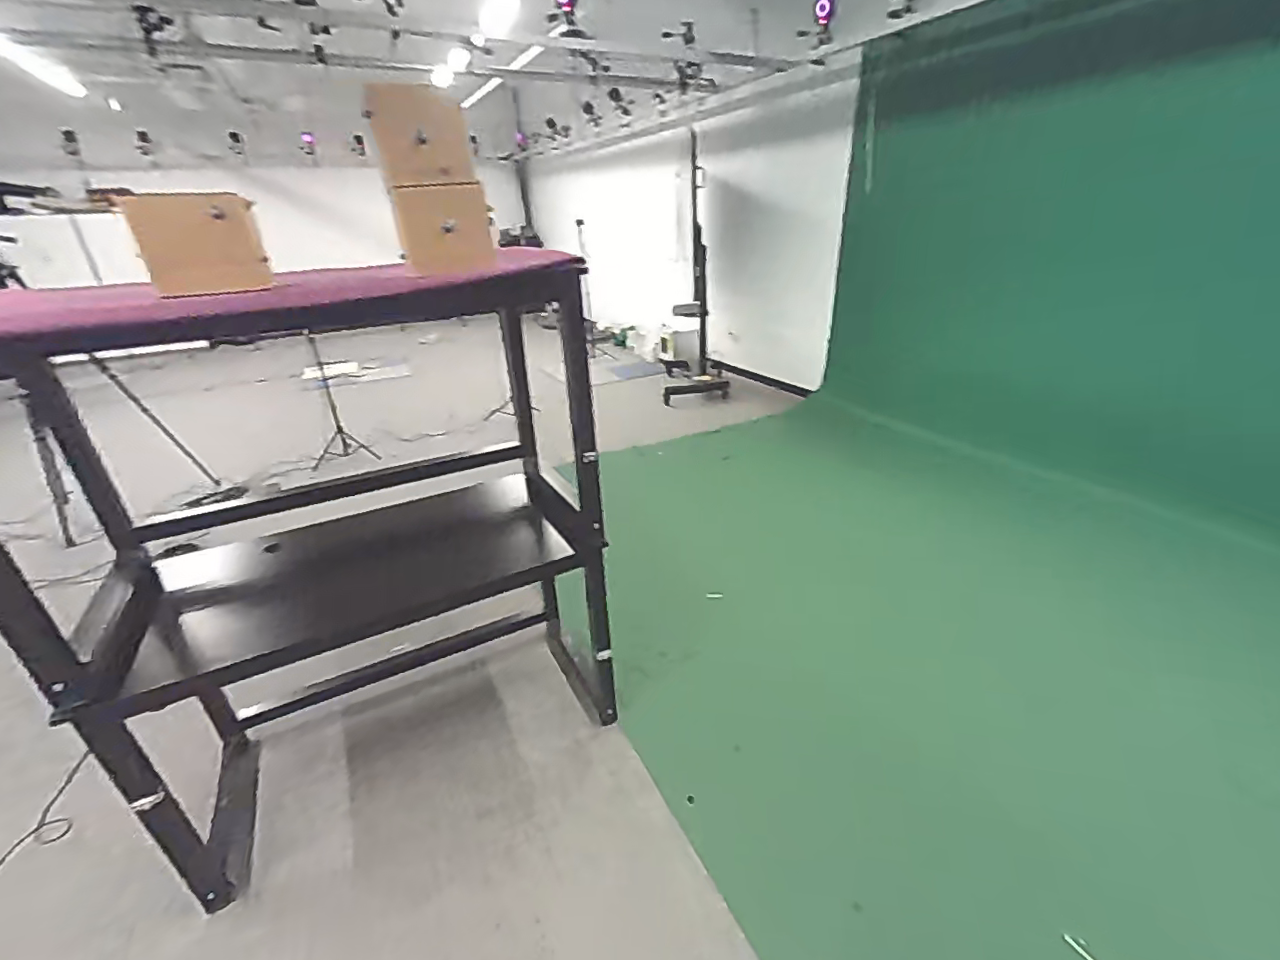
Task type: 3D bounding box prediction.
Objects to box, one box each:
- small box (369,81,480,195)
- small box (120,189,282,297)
[{"bbox_3d":[-0.432,-0.681,1.088,0.168,0.176,0.179,-16,27,-22],"label":"small box"},{"bbox_3d":[-0.811,-0.443,1.020,0.179,0.176,0.168,-14,27,-23],"label":"small box"}]
